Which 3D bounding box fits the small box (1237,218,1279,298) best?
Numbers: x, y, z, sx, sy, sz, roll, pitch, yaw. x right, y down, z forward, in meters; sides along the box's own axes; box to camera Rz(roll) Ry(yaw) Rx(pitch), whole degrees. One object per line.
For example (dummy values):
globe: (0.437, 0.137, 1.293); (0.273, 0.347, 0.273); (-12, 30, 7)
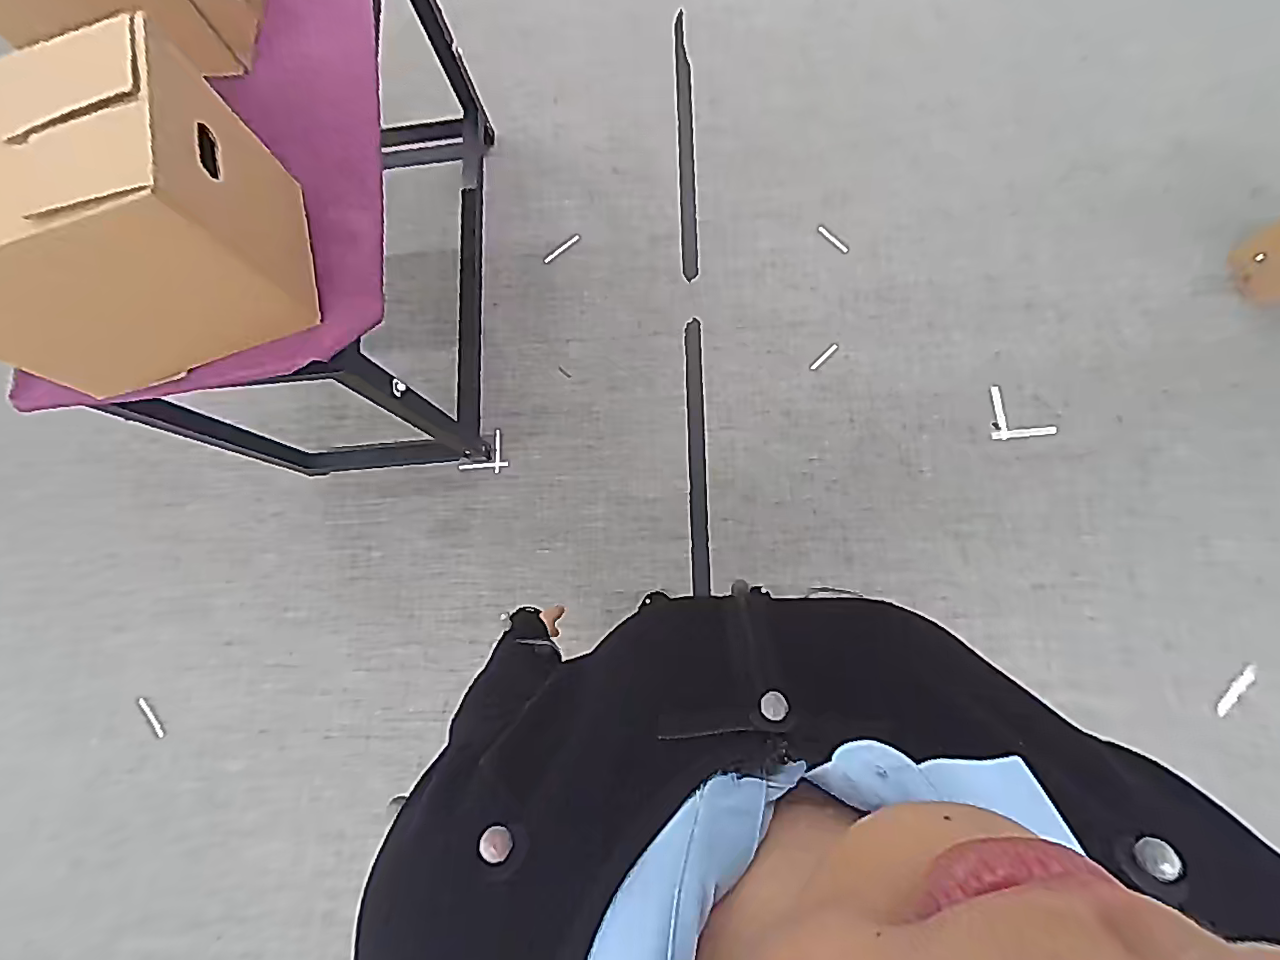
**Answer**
small box: (1.789, -0.611, 1.461); (0.179, 0.176, 0.168); (-5, 78, 4)
